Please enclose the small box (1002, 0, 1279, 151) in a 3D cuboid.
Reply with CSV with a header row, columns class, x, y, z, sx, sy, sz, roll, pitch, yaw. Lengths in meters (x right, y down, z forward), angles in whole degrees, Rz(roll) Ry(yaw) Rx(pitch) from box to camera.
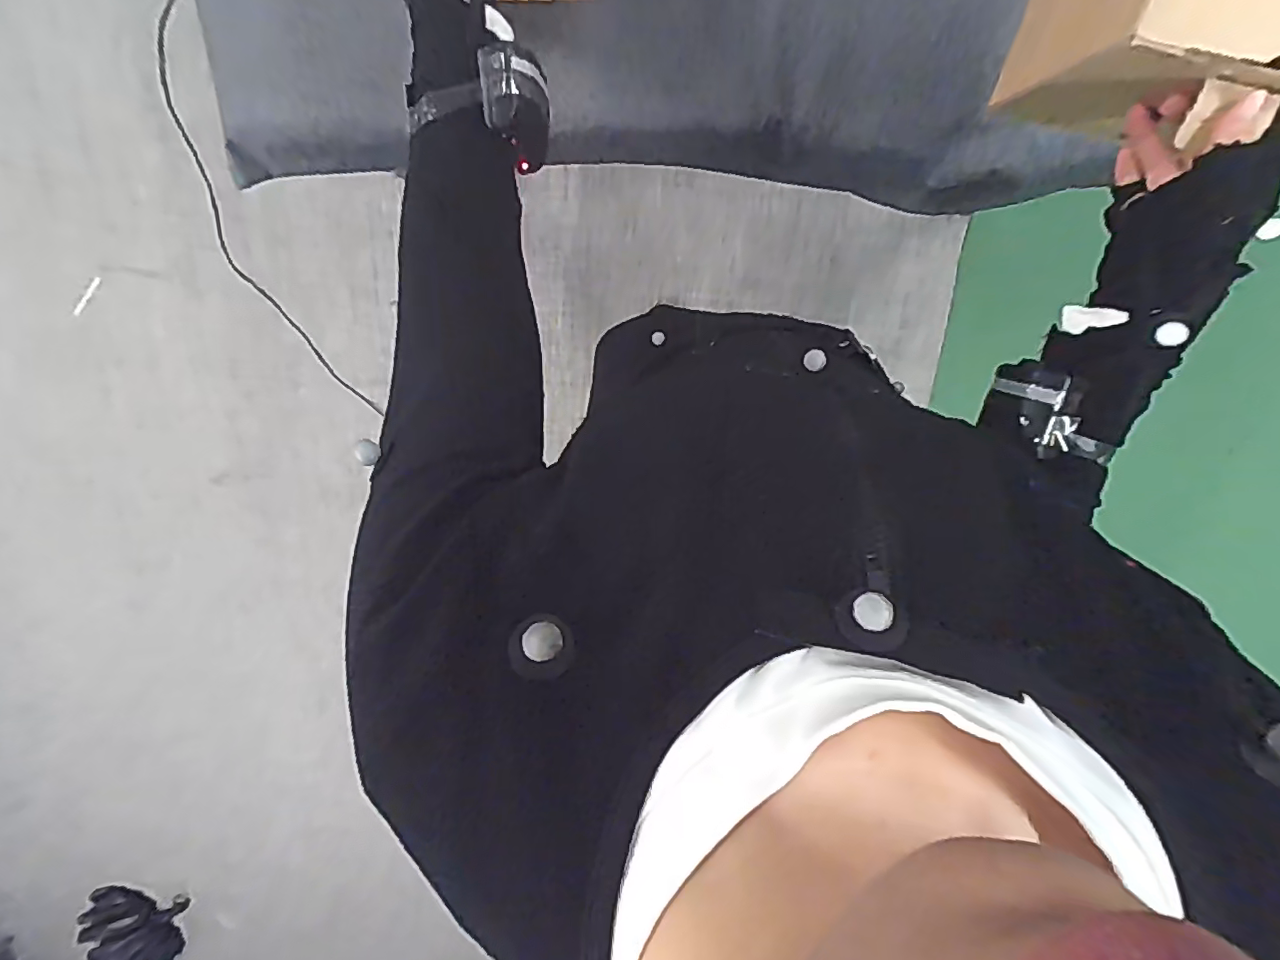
class,x,y,z,sx,sy,sz,roll,pitch,yaw
small box,0.371,-0.327,0.337,0.168,0.176,0.179,13,114,0
